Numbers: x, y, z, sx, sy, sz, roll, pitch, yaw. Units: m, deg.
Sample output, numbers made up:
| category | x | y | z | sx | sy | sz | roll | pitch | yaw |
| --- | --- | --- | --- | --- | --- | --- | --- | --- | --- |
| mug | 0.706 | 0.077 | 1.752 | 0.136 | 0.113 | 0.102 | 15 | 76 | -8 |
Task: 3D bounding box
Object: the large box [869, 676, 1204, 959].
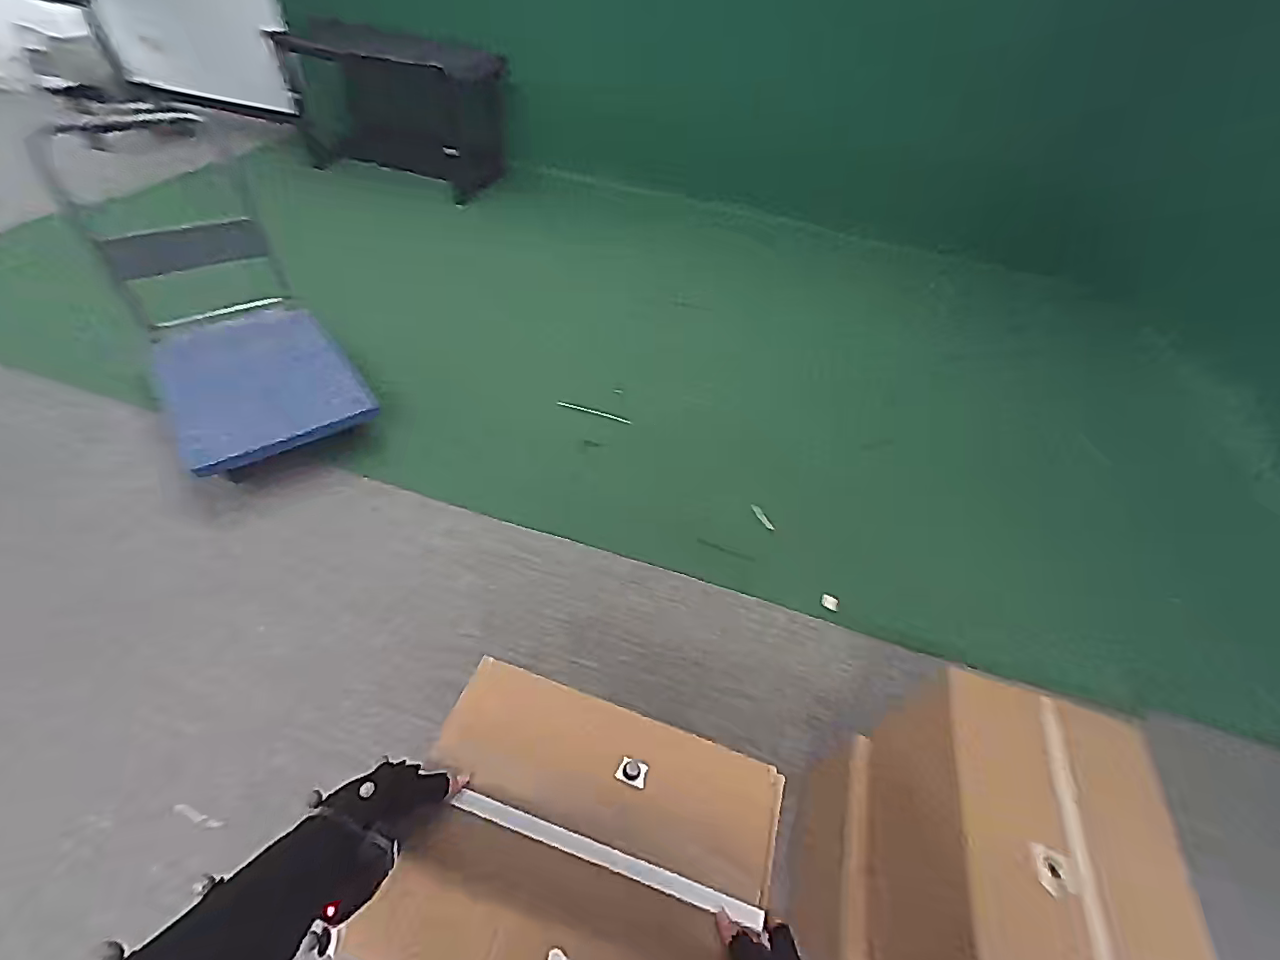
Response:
| category | x | y | z | sx | sy | sz | roll | pitch | yaw |
| --- | --- | --- | --- | --- | --- | --- | --- | --- | --- |
| large box | 0.595 | 0.612 | 0.889 | 0.320 | 0.320 | 0.408 | 19 | 48 | 6 |
